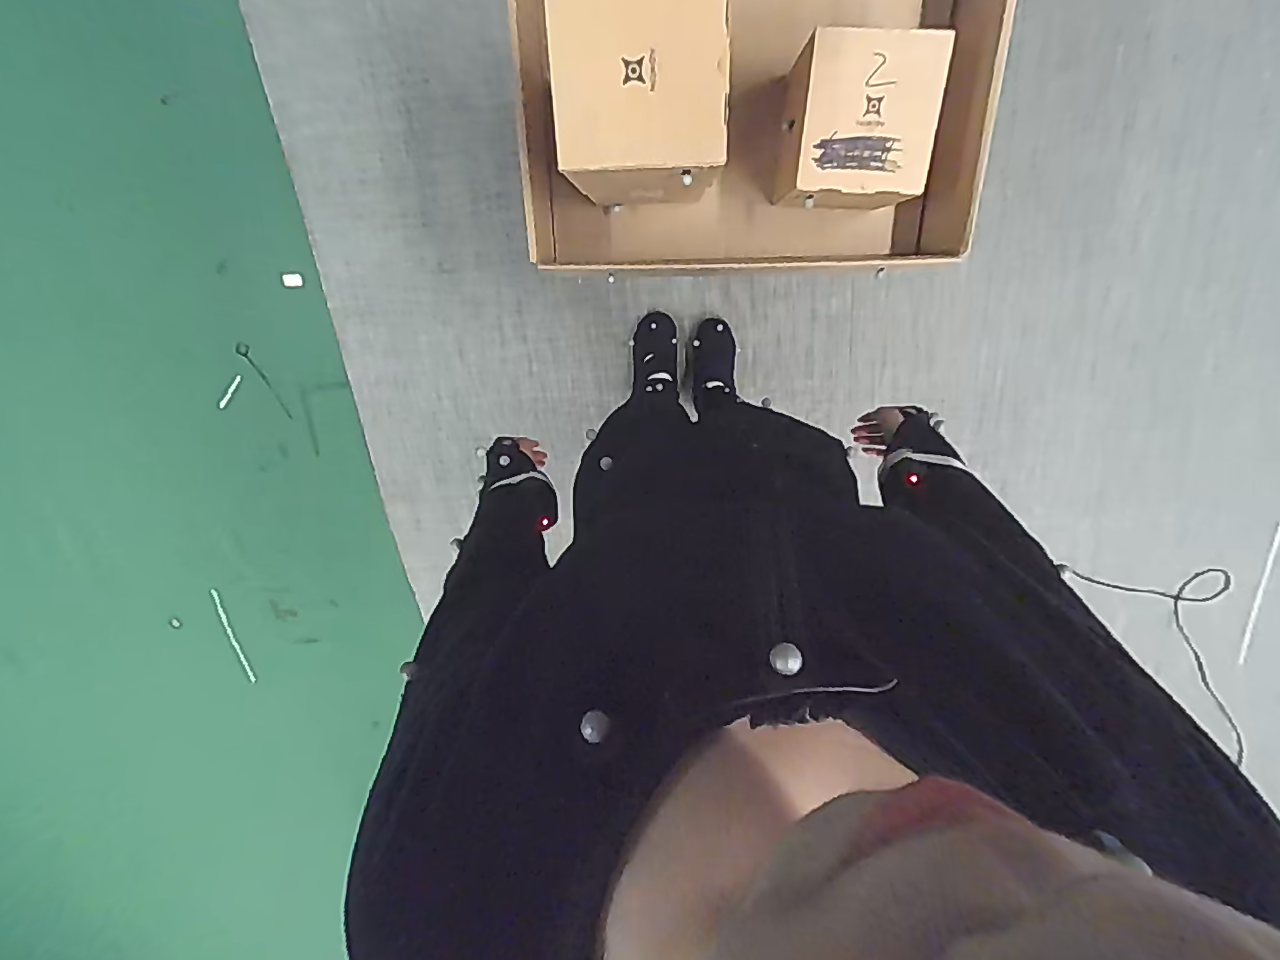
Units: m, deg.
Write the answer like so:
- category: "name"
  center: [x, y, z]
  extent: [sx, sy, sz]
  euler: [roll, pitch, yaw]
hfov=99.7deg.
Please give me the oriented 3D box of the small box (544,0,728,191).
- category: "small box"
  center: [0.000, -0.427, 0.601]
  extent: [0.179, 0.176, 0.168]
  euler: [-2, 111, 1]
